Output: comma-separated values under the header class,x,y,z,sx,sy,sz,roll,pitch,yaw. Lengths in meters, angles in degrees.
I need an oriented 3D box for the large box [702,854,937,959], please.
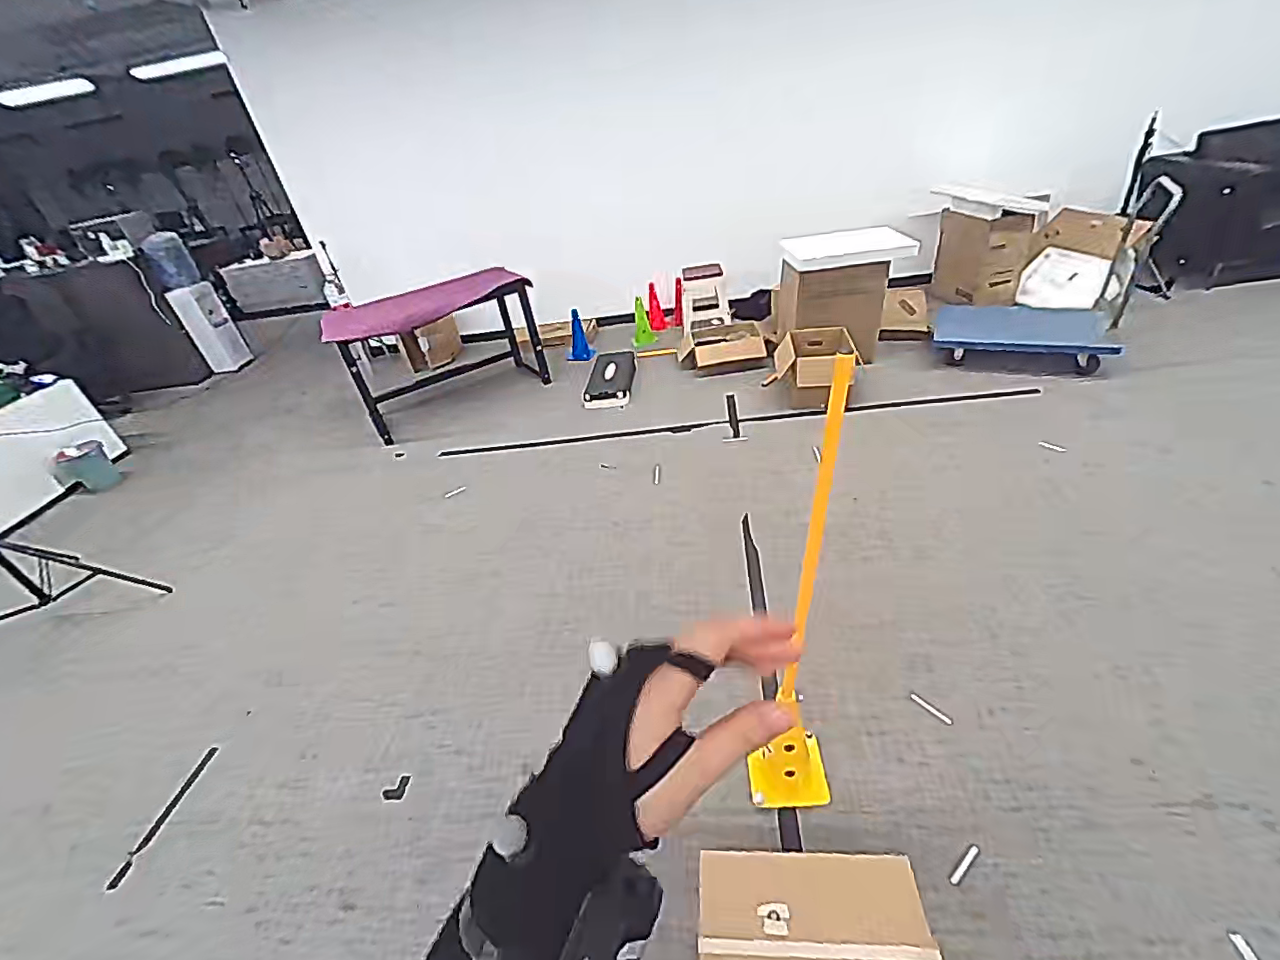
class,x,y,z,sx,sy,sz,roll,pitch,yaw
large box,0.336,0.953,1.029,0.408,0.320,0.320,-5,32,9
